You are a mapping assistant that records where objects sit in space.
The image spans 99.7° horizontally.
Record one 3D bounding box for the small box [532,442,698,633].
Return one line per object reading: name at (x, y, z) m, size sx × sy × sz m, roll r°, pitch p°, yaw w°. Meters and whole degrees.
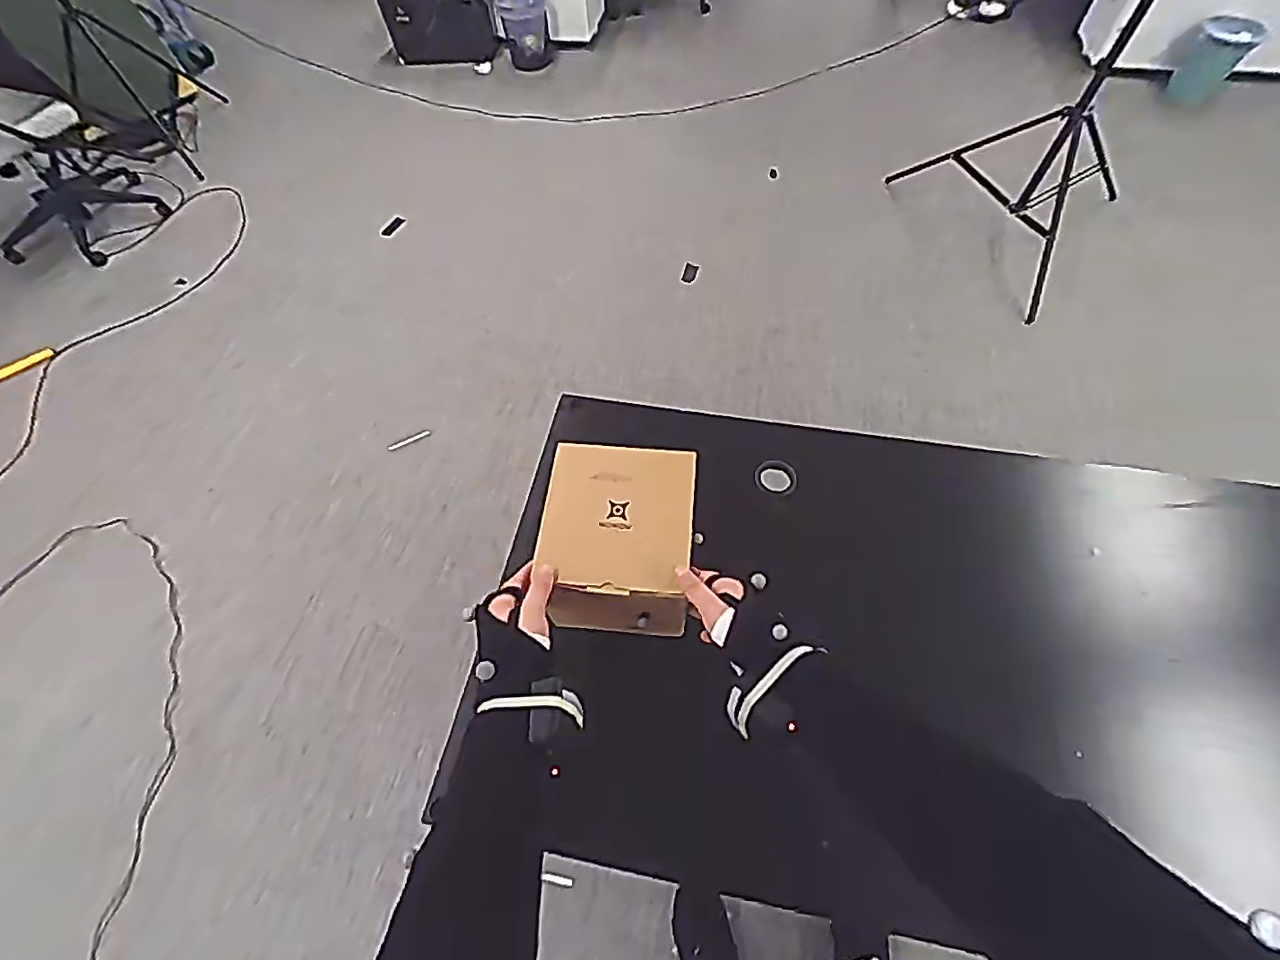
small box at (-0.020, 0.076, 0.653) m, size 0.168 × 0.176 × 0.179 m, roll 4°, pitch 60°, yaw 3°
